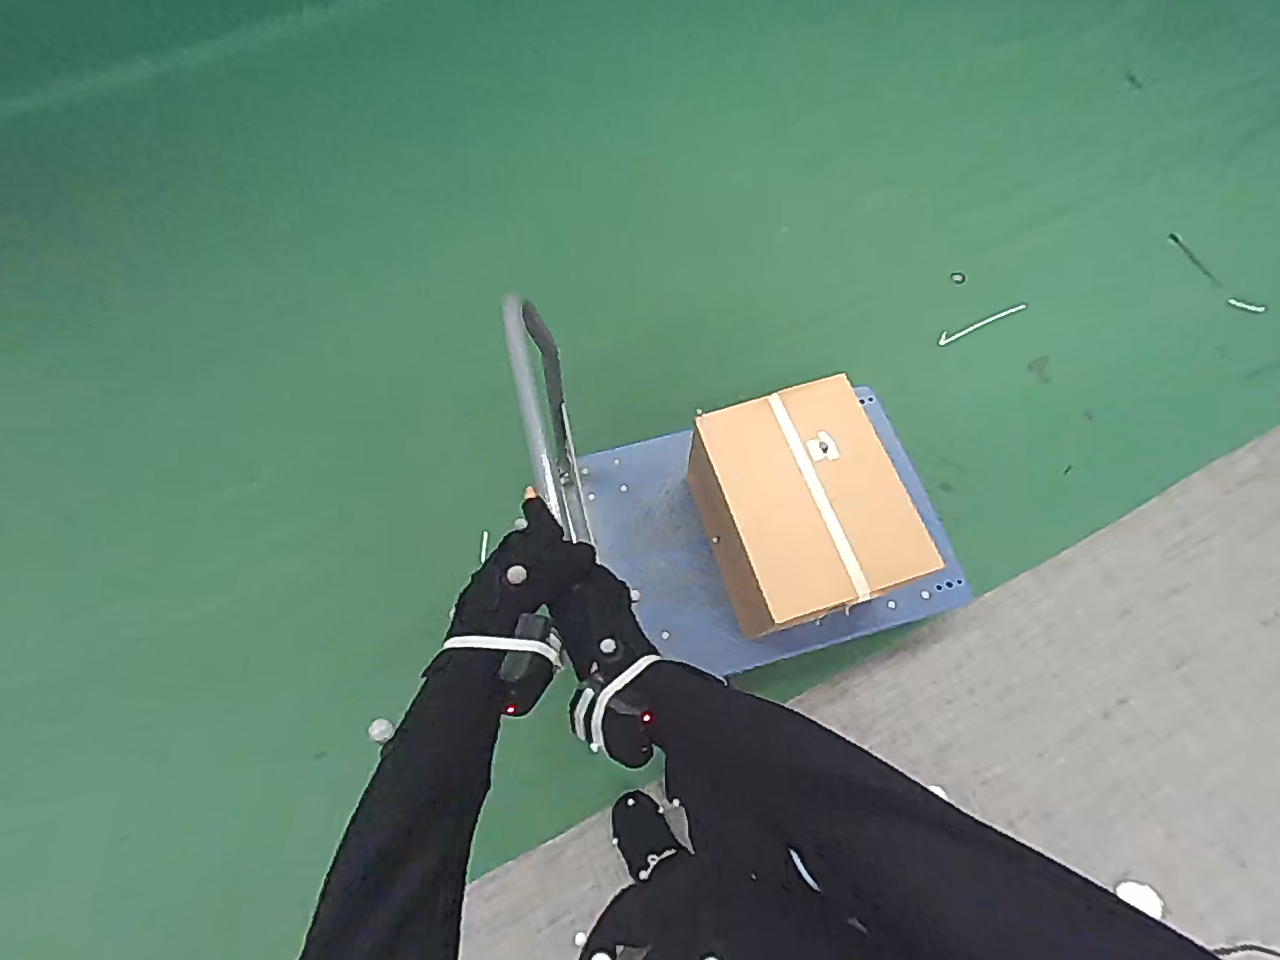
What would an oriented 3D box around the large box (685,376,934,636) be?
[{"bbox_3d":[0.305,0.067,1.117,0.320,0.320,0.408,-17,69,-6],"label":"large box"}]
